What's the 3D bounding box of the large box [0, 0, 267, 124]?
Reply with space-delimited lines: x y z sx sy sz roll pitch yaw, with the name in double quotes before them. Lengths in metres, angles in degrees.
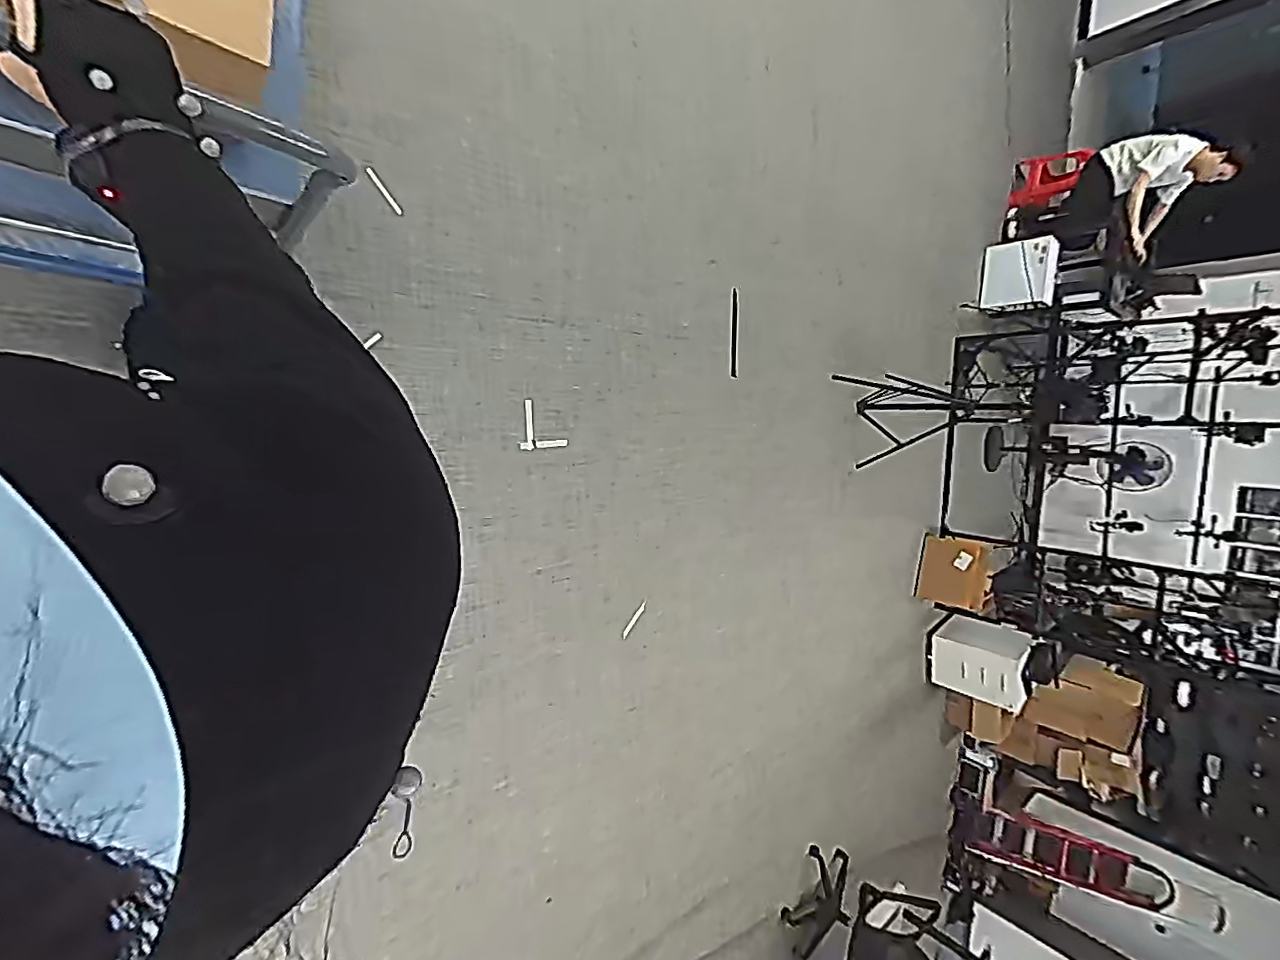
"large box" -0.803 -0.815 0.793 0.408 0.320 0.320 2 94 -41
